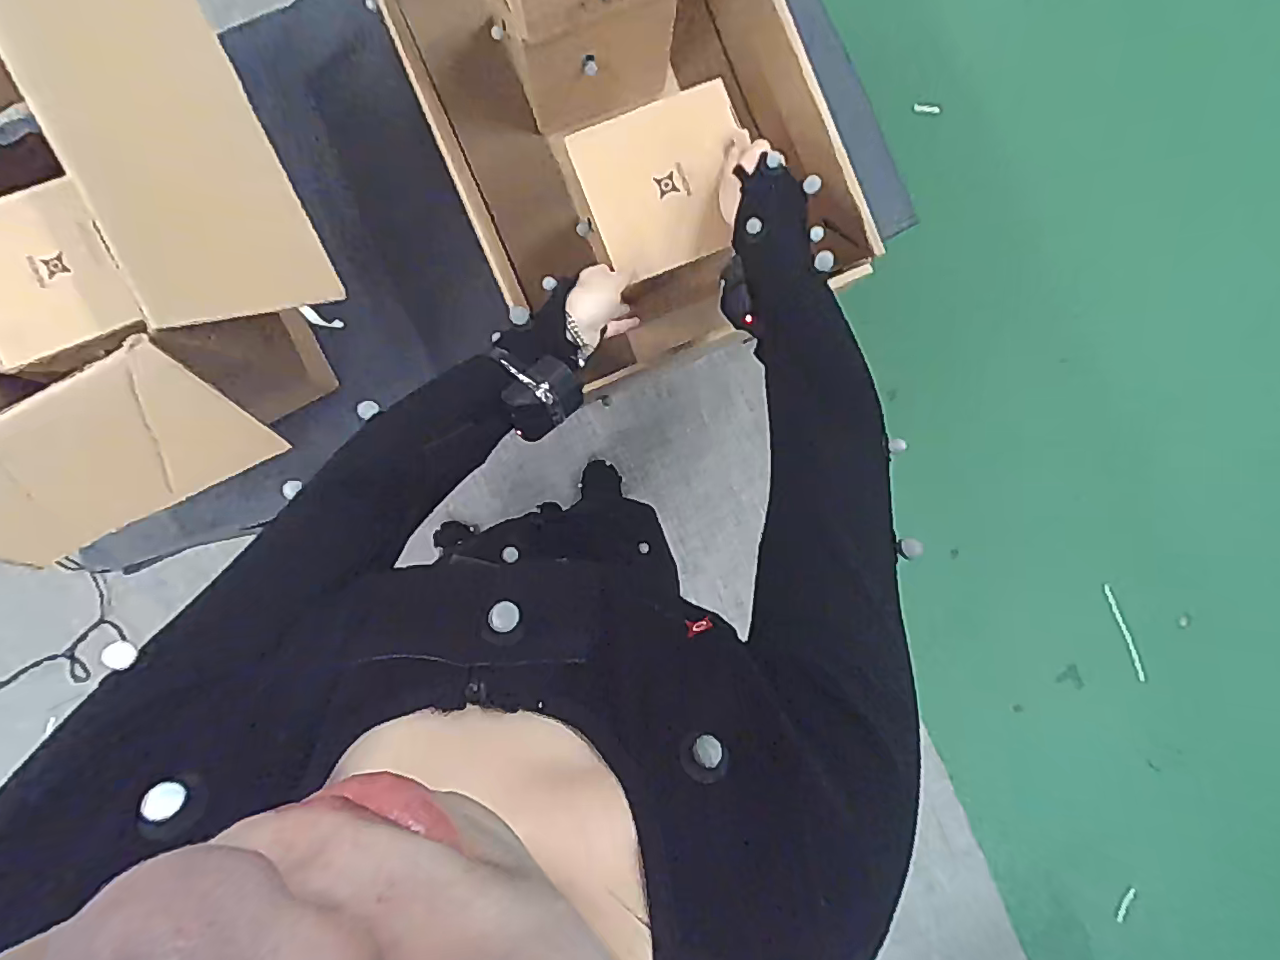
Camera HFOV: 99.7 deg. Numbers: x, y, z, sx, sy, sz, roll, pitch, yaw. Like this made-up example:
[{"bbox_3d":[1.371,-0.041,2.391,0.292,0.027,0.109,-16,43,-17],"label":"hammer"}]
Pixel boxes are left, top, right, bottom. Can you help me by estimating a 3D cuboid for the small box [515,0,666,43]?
[{"bbox_3d":[-0.059,-0.536,0.456,0.168,0.176,0.179,-22,95,-1],"label":"small box"}]
